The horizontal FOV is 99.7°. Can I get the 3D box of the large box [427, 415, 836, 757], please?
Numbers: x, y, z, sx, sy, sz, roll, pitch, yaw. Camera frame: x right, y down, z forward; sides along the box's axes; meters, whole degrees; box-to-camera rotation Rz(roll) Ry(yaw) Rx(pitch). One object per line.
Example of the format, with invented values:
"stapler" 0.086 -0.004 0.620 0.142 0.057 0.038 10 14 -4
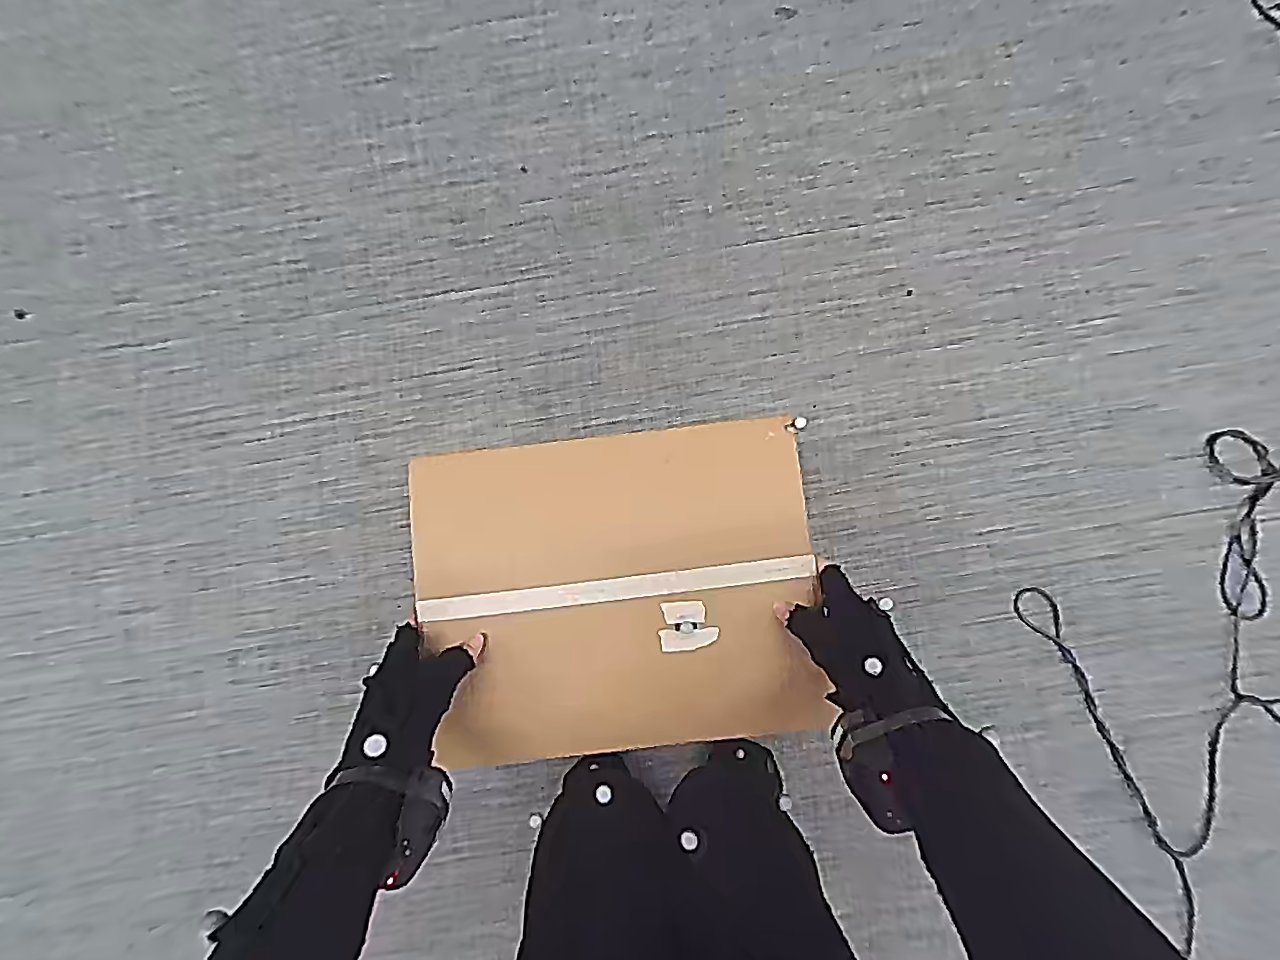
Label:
"large box" -0.015 0.124 0.710 0.408 0.320 0.320 -7 83 0
